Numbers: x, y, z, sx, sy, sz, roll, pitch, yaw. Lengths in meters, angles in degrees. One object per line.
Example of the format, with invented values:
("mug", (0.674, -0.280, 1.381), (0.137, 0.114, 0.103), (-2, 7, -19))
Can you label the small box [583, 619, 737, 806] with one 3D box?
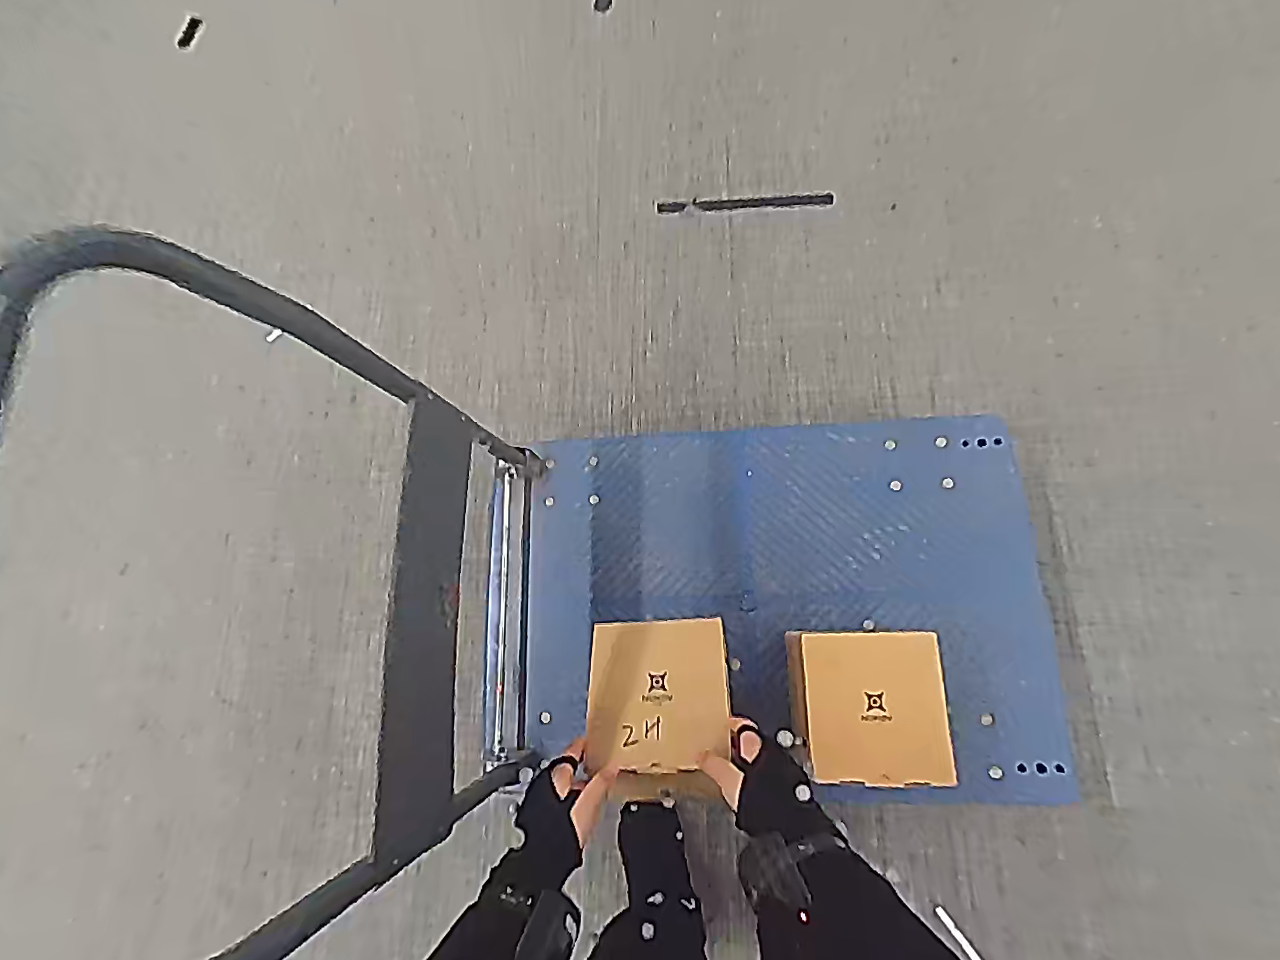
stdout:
("small box", (0.033, 0.296, 0.685), (0.168, 0.176, 0.179), (-5, 49, 8))

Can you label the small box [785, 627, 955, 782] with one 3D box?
("small box", (0.296, 0.292, 0.737), (0.168, 0.176, 0.179), (-3, 76, 7))
